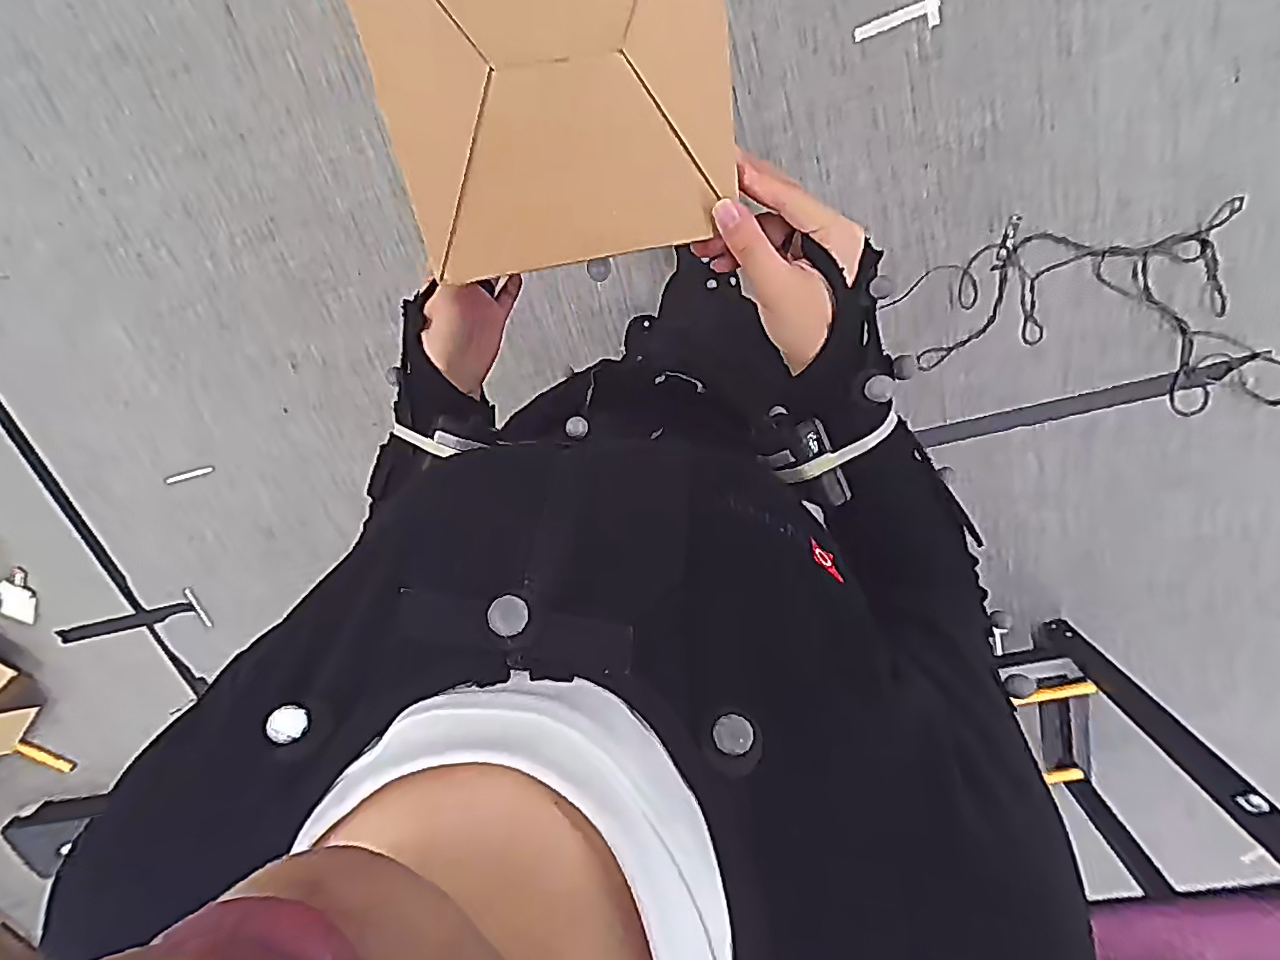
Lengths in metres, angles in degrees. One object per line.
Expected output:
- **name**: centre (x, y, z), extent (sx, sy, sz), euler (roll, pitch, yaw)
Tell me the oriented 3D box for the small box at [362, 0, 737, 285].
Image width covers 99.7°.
- **small box**: centre (-0.048, -0.229, 0.324), extent (0.168, 0.176, 0.179), euler (-12, 117, -4)
